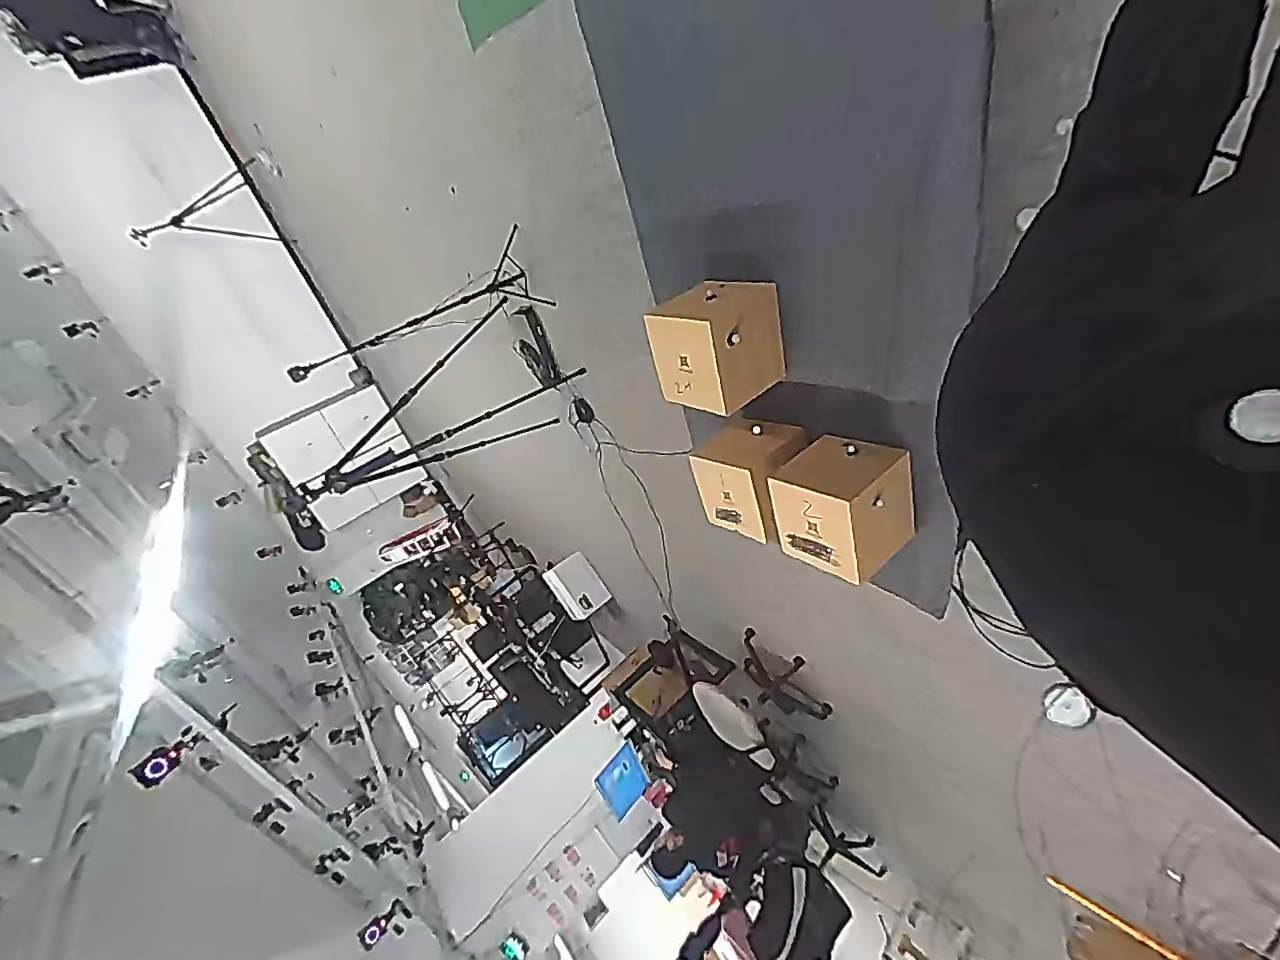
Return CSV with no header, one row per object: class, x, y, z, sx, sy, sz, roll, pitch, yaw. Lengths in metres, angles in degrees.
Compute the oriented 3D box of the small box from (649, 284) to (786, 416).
small box,0.145,-0.245,0.986,0.168,0.176,0.179,25,142,47
